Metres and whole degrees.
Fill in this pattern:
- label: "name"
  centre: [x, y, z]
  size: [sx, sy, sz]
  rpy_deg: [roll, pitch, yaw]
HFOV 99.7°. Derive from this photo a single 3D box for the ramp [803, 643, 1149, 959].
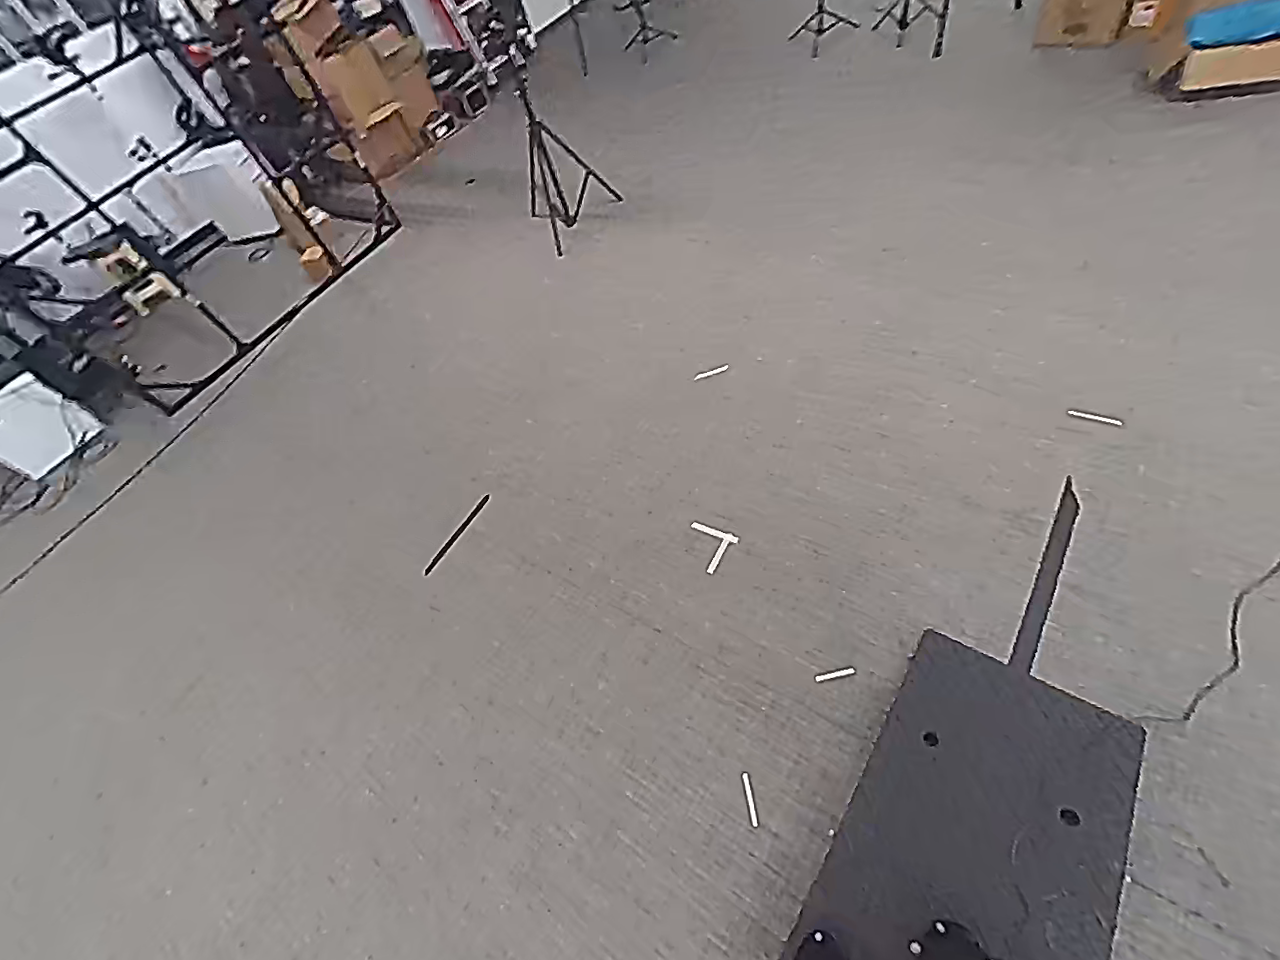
- label: "ramp"
  centre: [0.707, 0.833, 1.128]
  size: [0.509, 0.206, 0.991]
  rpy_deg: [19, 61, 31]
